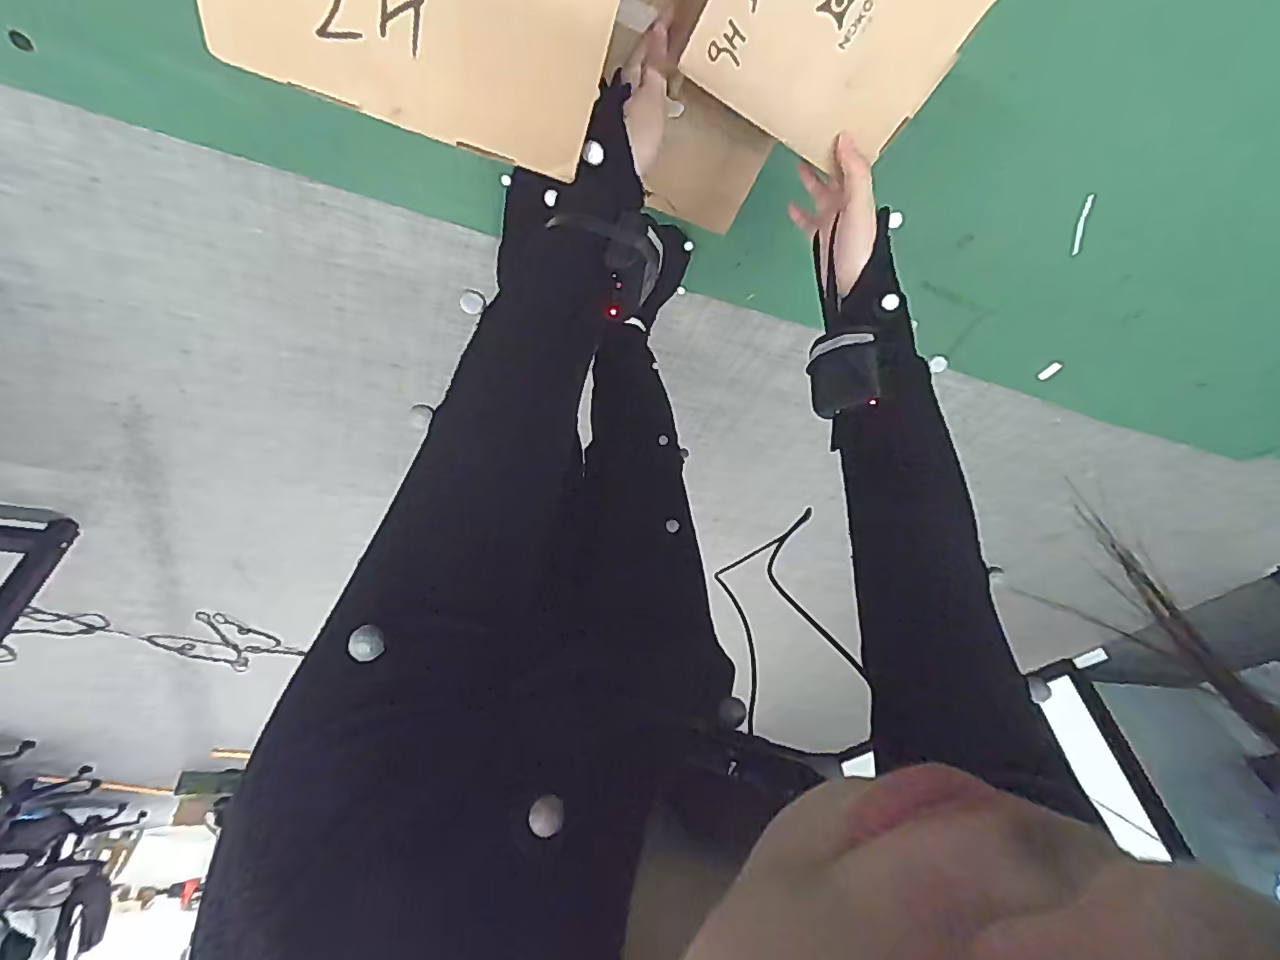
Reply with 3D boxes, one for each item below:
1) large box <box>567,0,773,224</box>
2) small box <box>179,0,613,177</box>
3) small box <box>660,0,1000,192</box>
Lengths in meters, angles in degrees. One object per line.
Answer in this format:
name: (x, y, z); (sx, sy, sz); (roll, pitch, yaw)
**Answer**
large box: (-0.033, -0.545, 0.575); (0.408, 0.320, 0.320); (11, 138, -18)
small box: (-0.090, -0.284, 0.246); (0.168, 0.176, 0.179); (11, 137, -18)
small box: (0.131, -0.367, 0.413); (0.179, 0.176, 0.168); (19, 131, -23)
